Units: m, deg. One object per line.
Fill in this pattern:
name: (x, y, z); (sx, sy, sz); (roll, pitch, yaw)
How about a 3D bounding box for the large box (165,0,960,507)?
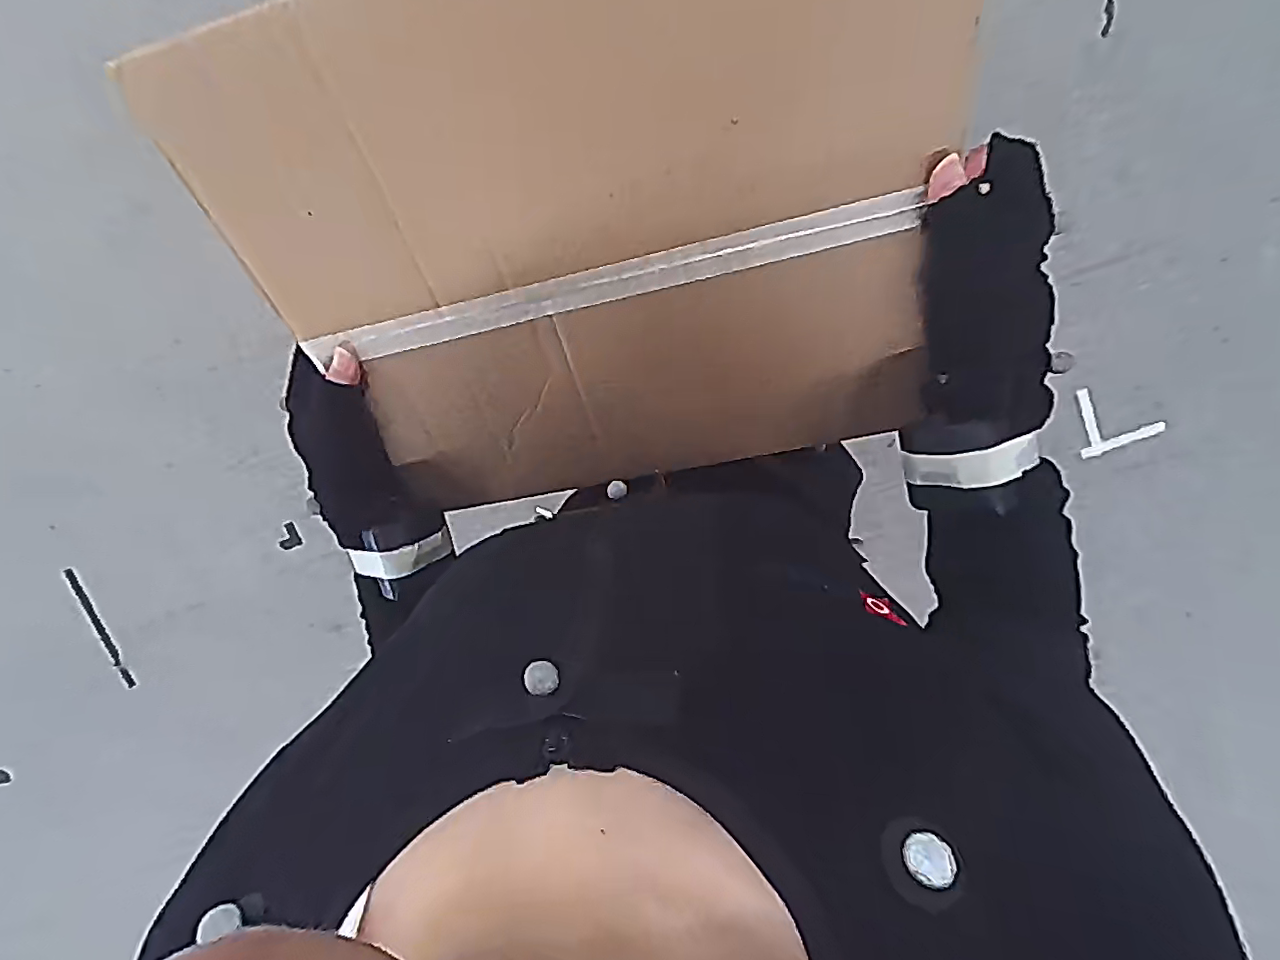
large box: (-0.019, -0.221, 0.452); (0.408, 0.320, 0.320); (-10, 130, 10)
